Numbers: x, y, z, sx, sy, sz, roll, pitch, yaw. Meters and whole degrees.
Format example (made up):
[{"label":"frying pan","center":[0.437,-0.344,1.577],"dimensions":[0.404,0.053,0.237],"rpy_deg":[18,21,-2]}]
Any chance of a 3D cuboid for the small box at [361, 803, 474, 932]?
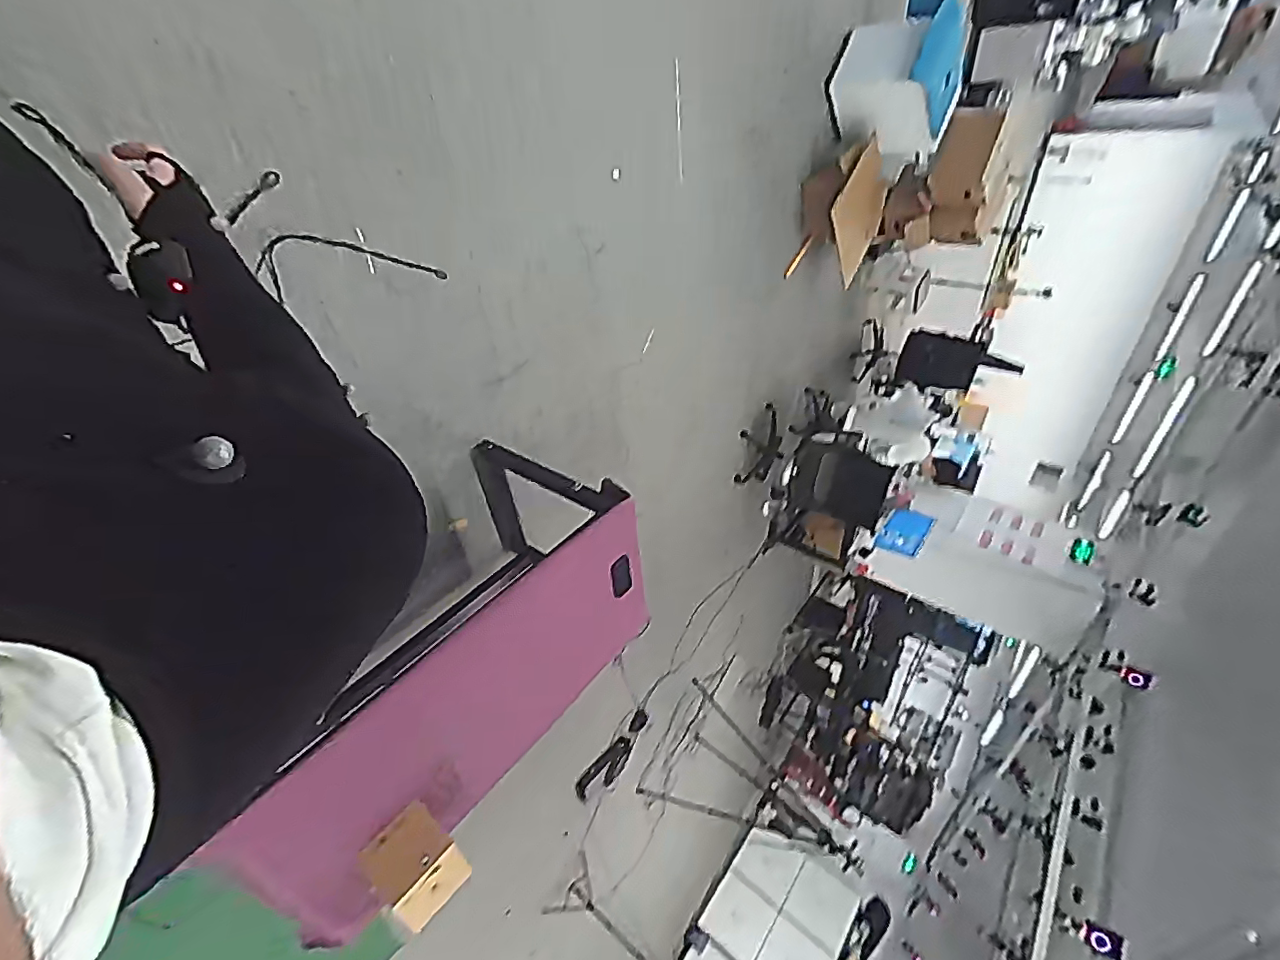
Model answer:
[{"label":"small box","center":[-0.539,0.935,1.316],"dimensions":[0.168,0.176,0.179],"rpy_deg":[-39,138,-37]}]
